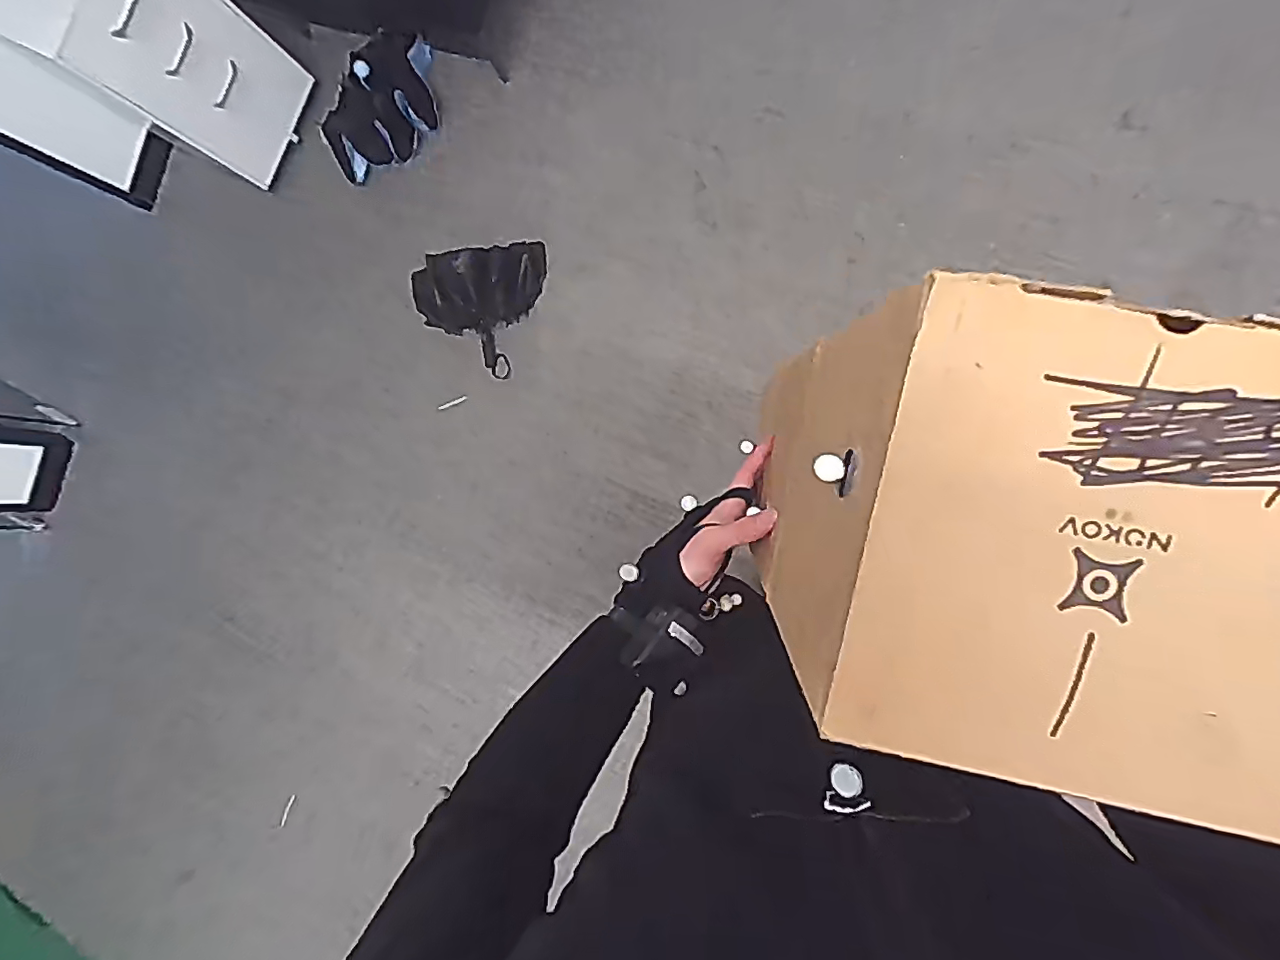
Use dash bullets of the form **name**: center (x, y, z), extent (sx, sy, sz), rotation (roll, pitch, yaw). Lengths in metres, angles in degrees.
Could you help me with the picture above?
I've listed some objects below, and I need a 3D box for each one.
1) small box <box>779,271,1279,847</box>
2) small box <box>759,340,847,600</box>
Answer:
- **small box**: center (0.172, 0.020, 0.263), extent (0.168, 0.176, 0.179), rotation (11, 97, 7)
- **small box**: center (0.191, 0.001, 0.425), extent (0.168, 0.176, 0.179), rotation (8, 94, 7)
